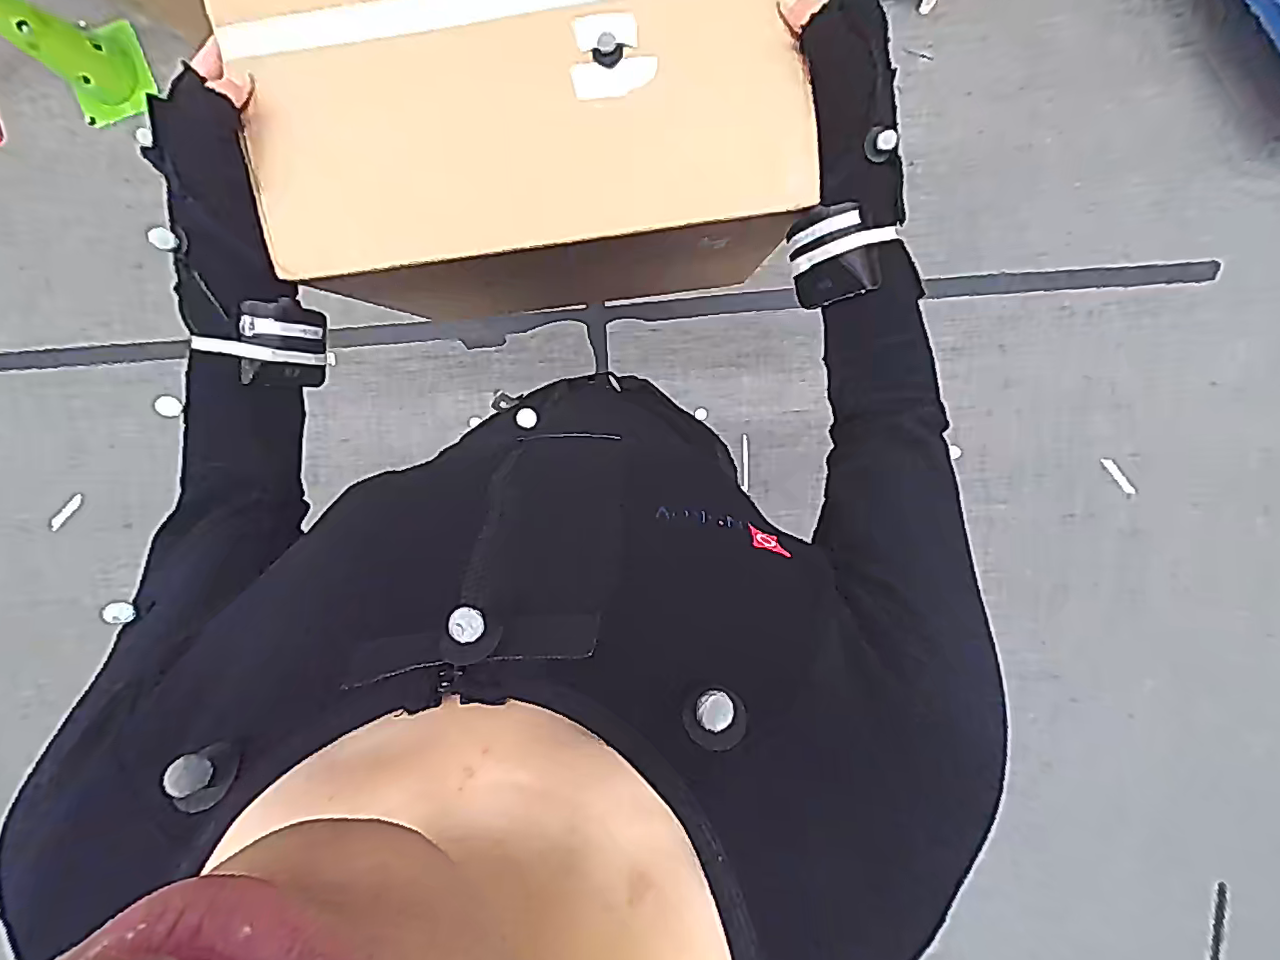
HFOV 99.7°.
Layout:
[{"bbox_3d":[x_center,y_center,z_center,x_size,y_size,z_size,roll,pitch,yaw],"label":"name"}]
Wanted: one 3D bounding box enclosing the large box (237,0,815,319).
[{"bbox_3d":[-0.086,-0.359,0.528,0.408,0.320,0.320,-7,100,2],"label":"large box"}]
